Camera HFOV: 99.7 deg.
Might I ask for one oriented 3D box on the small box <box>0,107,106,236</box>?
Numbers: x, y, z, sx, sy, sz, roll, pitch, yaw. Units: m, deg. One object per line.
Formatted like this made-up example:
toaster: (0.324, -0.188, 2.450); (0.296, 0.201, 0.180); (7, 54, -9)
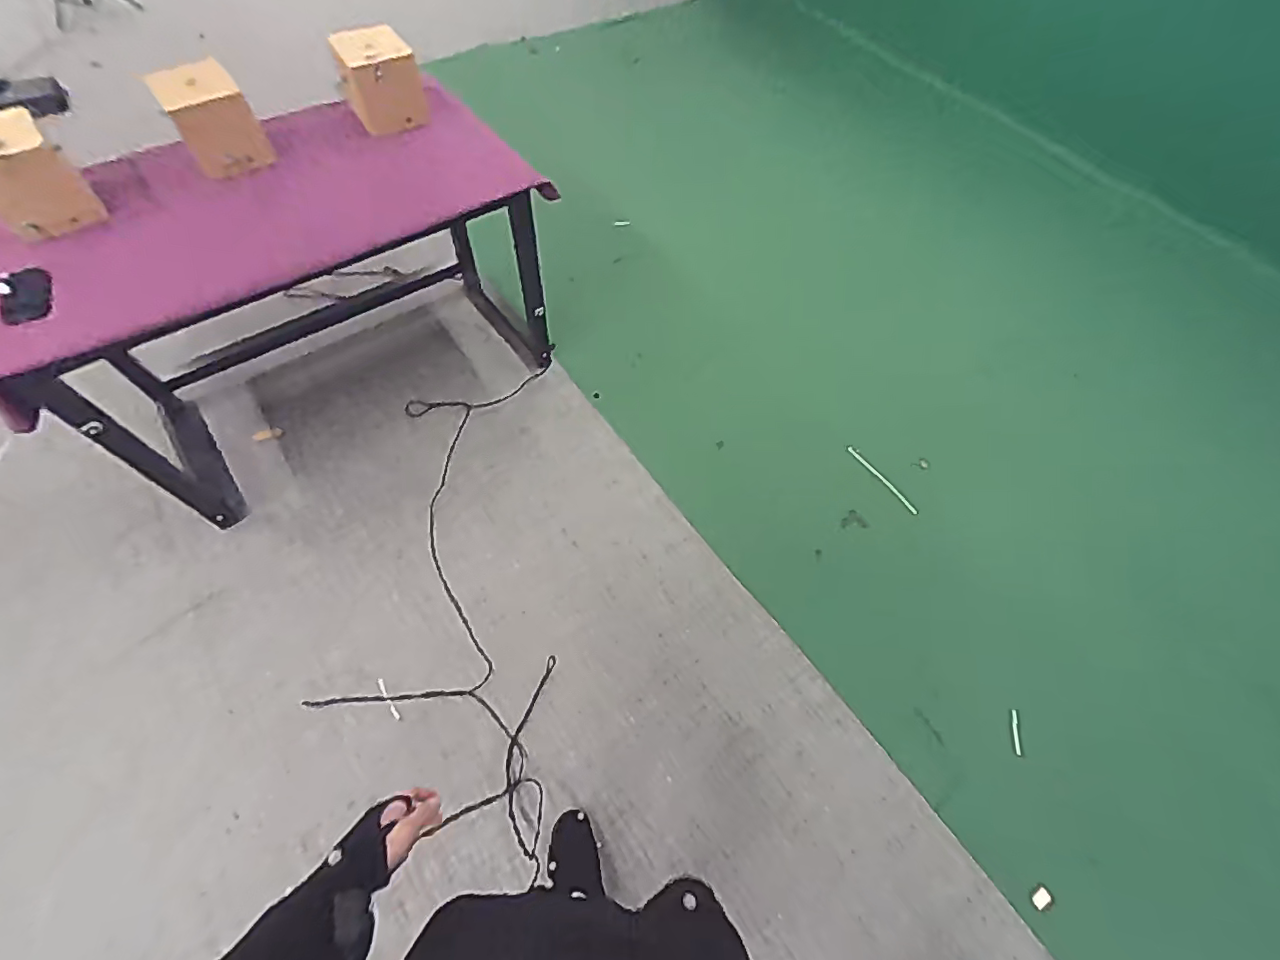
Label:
small box: (-1.319, -0.654, 1.162); (0.168, 0.176, 0.179); (-36, 68, -22)

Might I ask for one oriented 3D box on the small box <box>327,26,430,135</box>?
small box: (-0.689, -1.059, 1.438); (0.168, 0.176, 0.179); (-30, 66, -18)

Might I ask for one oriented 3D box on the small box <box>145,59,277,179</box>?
small box: (-1.029, -0.868, 1.307); (0.168, 0.176, 0.179); (-33, 68, -19)
